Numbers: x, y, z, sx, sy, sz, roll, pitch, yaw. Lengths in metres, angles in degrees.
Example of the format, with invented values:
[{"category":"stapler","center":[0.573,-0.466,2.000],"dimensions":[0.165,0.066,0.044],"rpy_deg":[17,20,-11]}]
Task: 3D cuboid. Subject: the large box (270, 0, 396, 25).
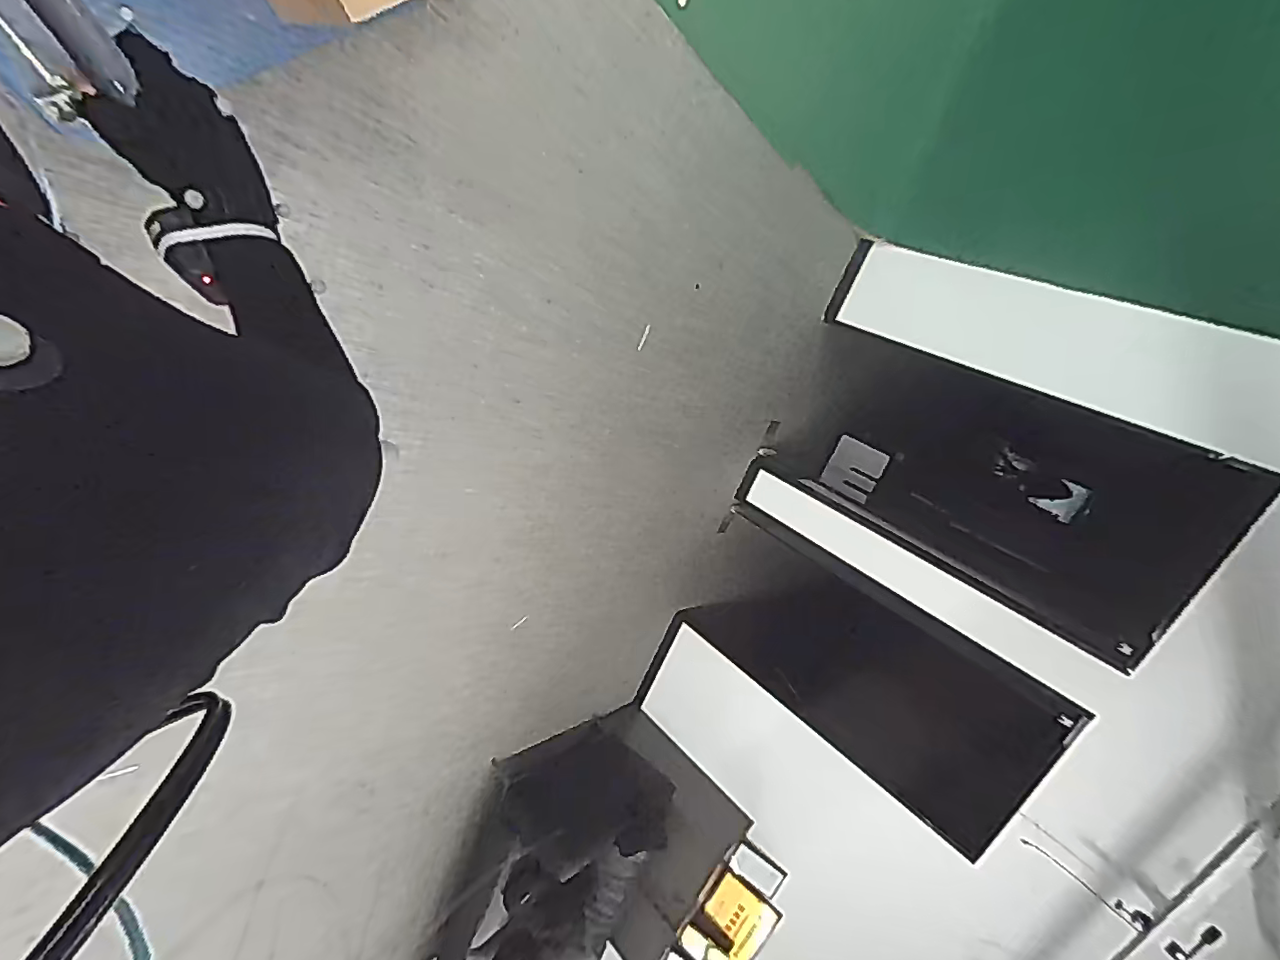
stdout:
[{"category":"large box","center":[-0.448,-0.919,0.724],"dimensions":[0.320,0.320,0.408],"rpy_deg":[-44,144,-18]}]
